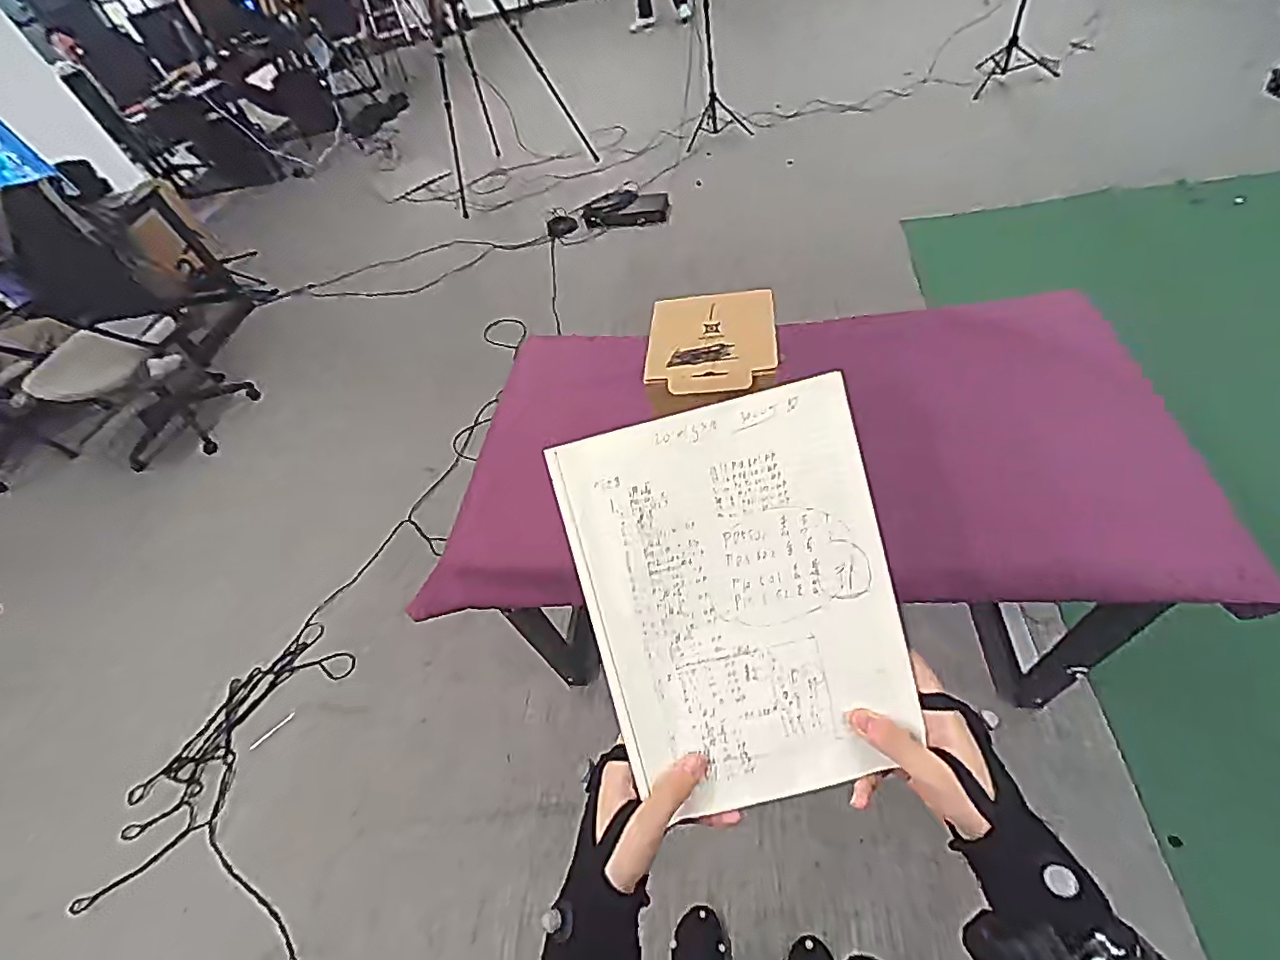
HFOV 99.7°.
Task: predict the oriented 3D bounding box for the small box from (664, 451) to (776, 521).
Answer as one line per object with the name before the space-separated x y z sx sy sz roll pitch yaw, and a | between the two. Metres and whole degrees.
small box | 0.140 -0.043 0.904 0.168 0.176 0.179 -2 52 12

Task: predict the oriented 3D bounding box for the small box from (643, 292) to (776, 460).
small box | 0.108 -0.140 0.774 0.168 0.176 0.179 -2 50 13
